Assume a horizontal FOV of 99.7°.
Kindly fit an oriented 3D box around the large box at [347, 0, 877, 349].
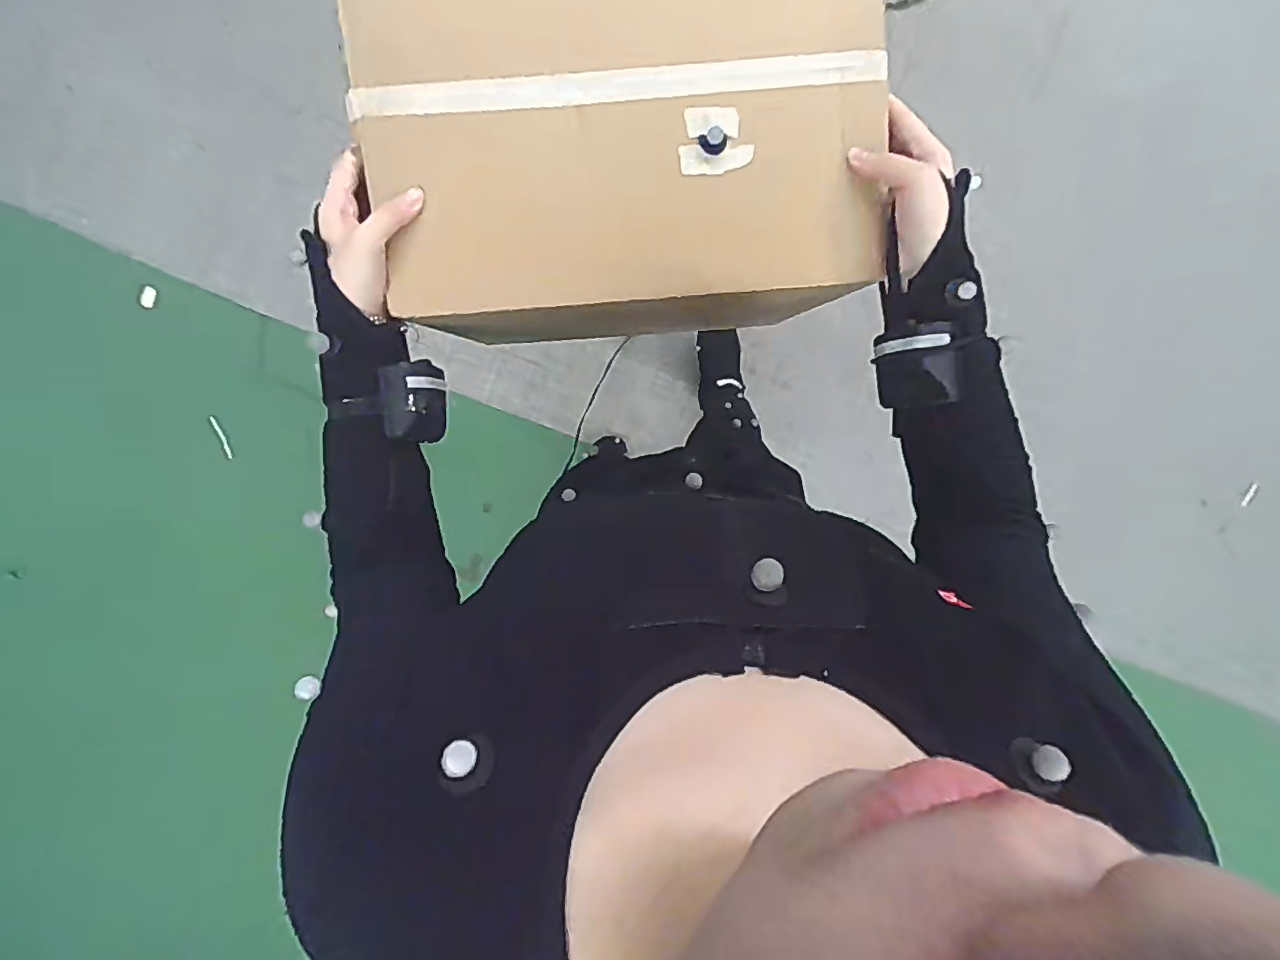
[{"bbox_3d":[-0.023,-0.328,0.570,0.408,0.320,0.320,-6,100,-2],"label":"large box"}]
